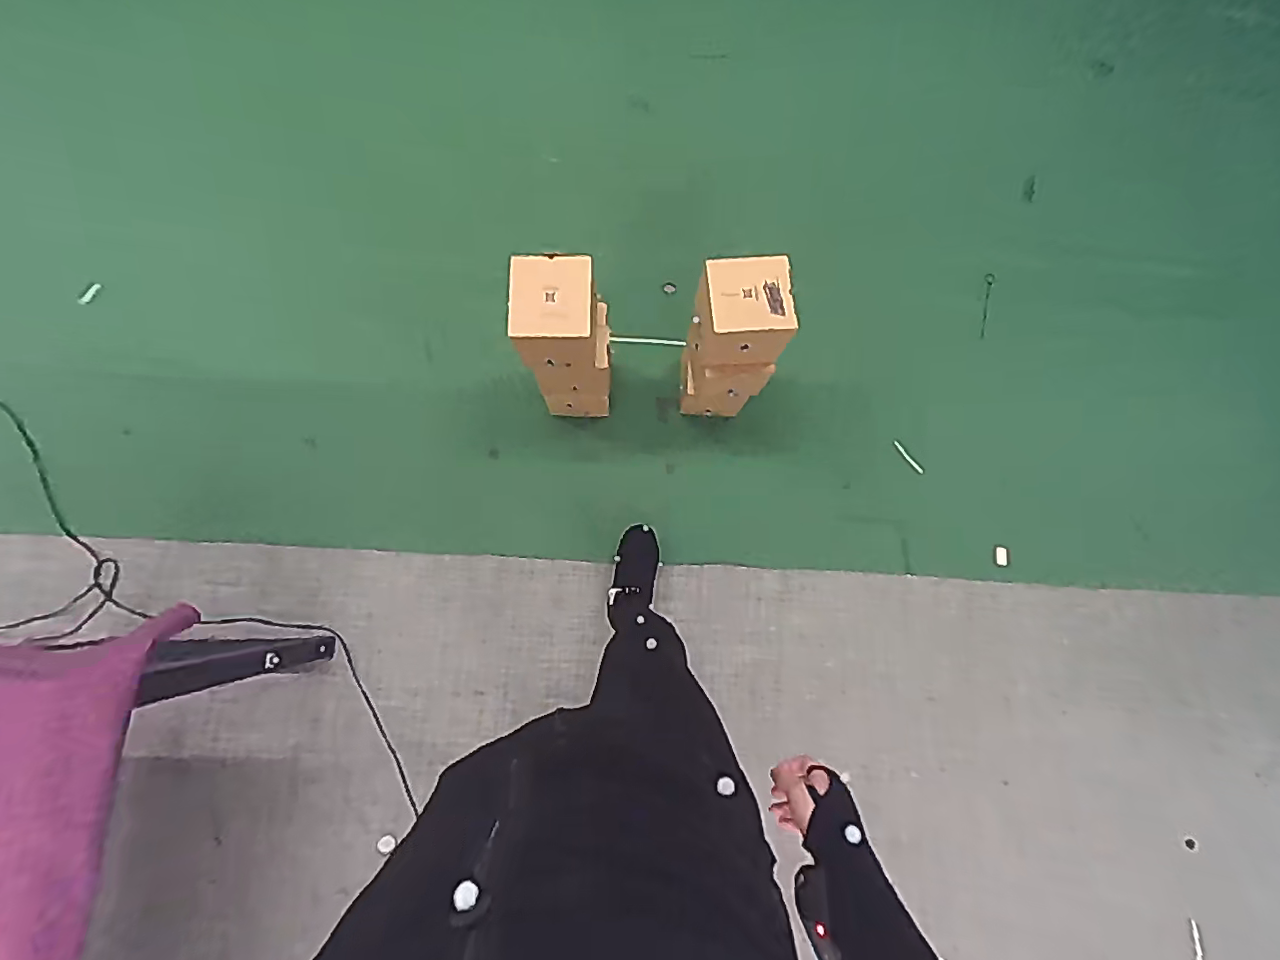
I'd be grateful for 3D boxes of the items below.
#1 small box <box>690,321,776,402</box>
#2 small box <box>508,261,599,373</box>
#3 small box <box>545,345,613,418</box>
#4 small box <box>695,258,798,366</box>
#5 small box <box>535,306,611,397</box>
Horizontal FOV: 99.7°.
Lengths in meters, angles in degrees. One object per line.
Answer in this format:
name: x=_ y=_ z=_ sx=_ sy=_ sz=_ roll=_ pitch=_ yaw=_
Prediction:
small box: x=0.221 y=-0.309 z=1.334 sx=0.168 sy=0.176 sz=0.179 roll=-7 pitch=79 yaw=-3
small box: x=-0.179 y=-0.345 z=1.163 sx=0.168 sy=0.176 sz=0.179 roll=0 pitch=78 yaw=1
small box: x=-0.161 y=-0.276 z=1.483 sx=0.168 sy=0.176 sz=0.179 roll=1 pitch=78 yaw=-1
small box: x=0.223 y=-0.360 z=1.175 sx=0.179 sy=0.176 sz=0.168 roll=-4 pitch=79 yaw=-2
small box: x=-0.161 y=-0.310 z=1.323 sx=0.179 sy=0.176 sz=0.168 roll=-1 pitch=78 yaw=-2
